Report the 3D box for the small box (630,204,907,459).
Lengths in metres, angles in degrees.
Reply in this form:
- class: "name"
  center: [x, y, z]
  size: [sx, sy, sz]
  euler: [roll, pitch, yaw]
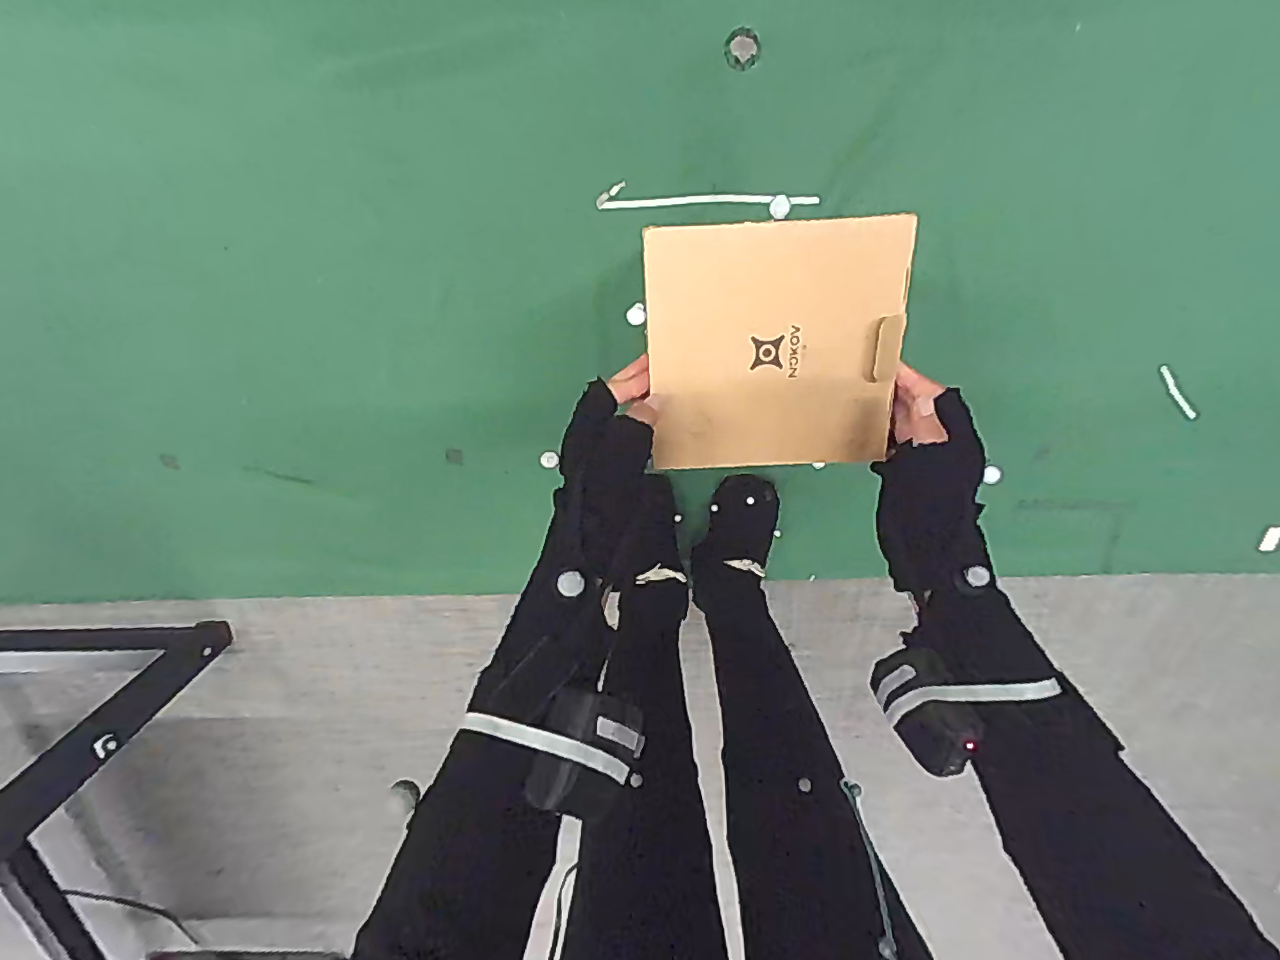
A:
- class: "small box"
  center: [0.086, -0.123, 0.443]
  size: [0.179, 0.176, 0.168]
  euler: [-3, 112, 1]
